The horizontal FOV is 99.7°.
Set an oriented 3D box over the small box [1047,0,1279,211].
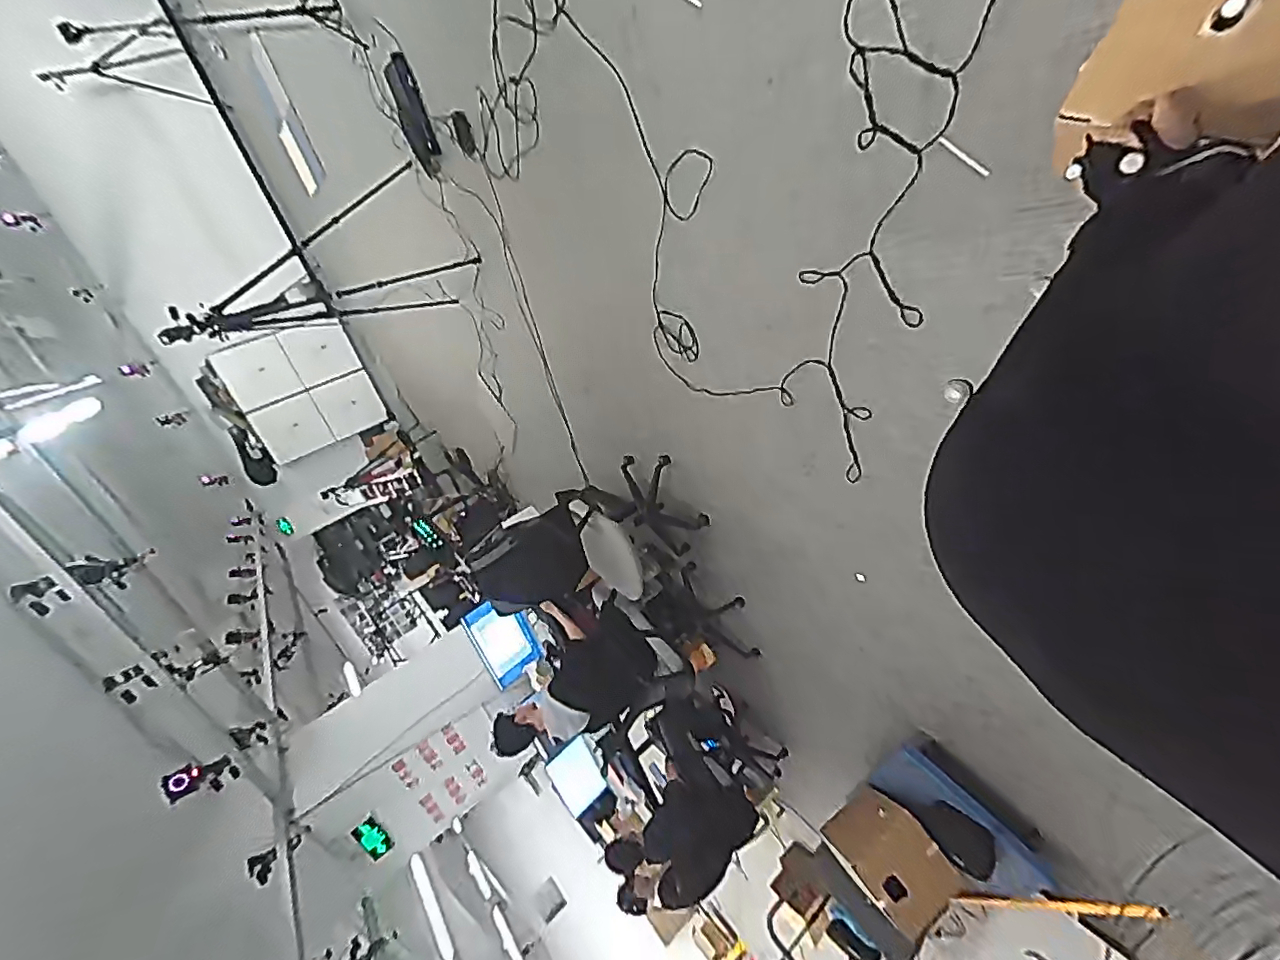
[{"bbox_3d":[0.548,-0.398,0.538,0.168,0.179,0.176,33,114,27],"label":"small box"}]
